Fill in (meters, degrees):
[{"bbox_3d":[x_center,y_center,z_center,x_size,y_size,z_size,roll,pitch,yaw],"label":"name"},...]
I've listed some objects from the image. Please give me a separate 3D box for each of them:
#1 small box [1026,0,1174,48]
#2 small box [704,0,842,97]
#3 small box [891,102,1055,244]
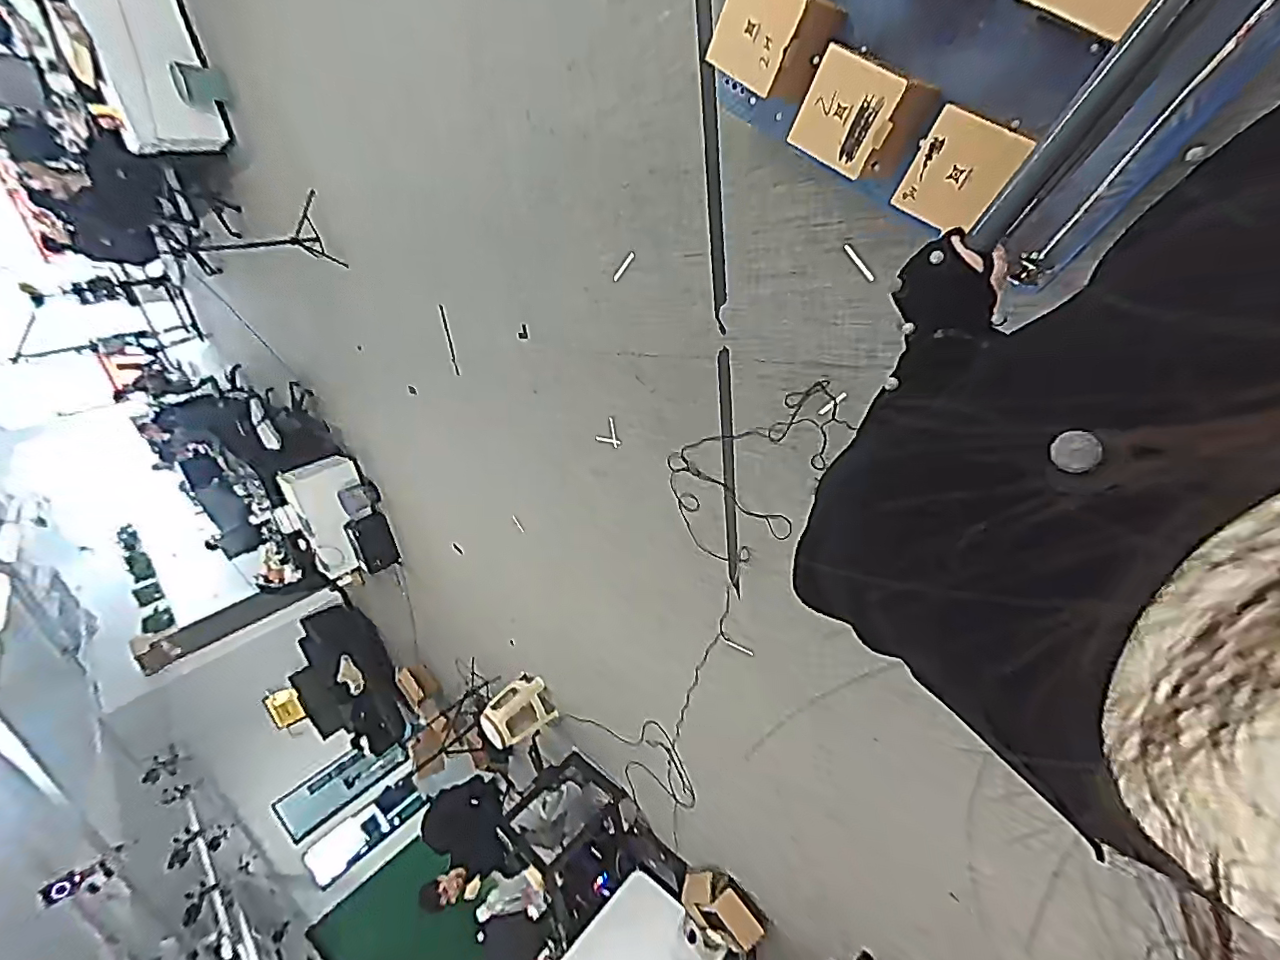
[{"bbox_3d":[0.690,-0.746,0.766,0.179,0.176,0.168,45,138,17],"label":"small box"},{"bbox_3d":[0.270,-0.907,1.097,0.179,0.176,0.168,45,138,15],"label":"small box"},{"bbox_3d":[0.601,-0.554,0.975,0.179,0.176,0.168,41,136,19],"label":"small box"}]
